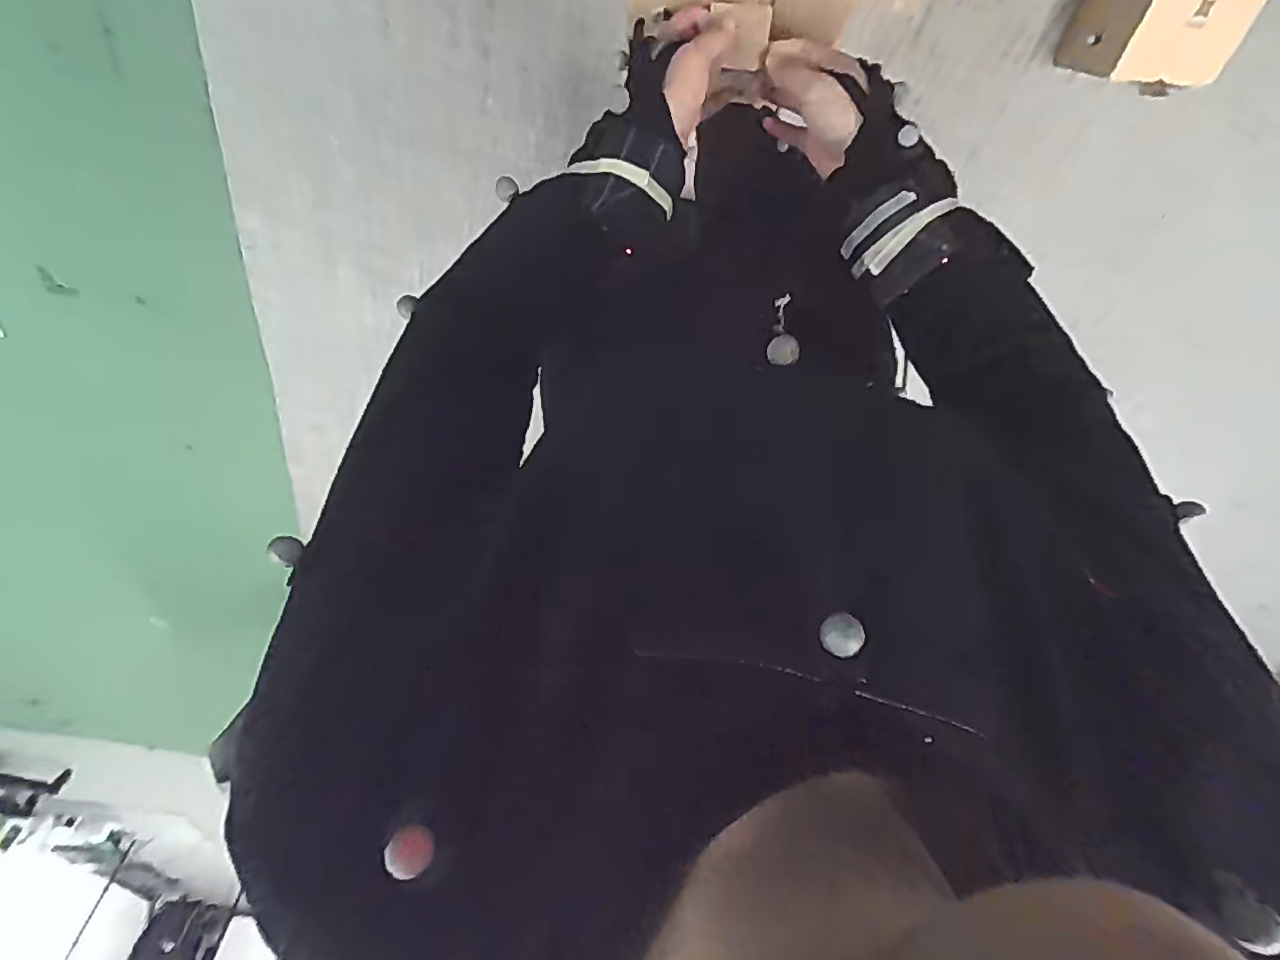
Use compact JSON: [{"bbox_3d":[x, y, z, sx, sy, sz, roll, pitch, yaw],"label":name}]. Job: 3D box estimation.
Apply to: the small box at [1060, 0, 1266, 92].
[{"bbox_3d":[0.807,-0.727,0.838,0.168,0.176,0.179,3,133,-2],"label":"small box"}]
